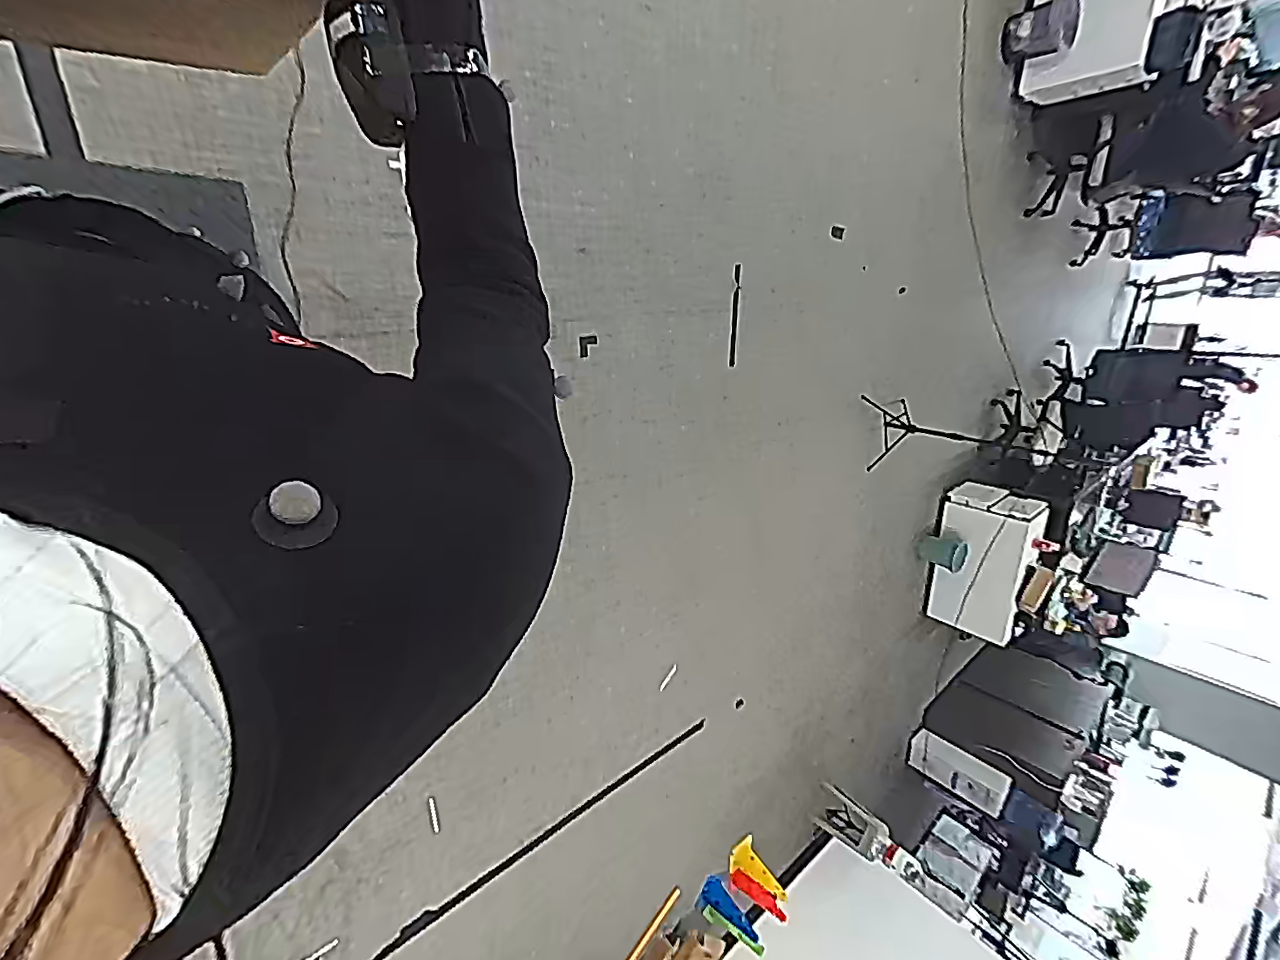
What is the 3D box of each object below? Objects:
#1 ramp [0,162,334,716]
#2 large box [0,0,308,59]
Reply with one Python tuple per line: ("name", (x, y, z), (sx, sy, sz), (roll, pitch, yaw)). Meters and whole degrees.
("ramp", (-0.982, -0.085, 1.082), (0.509, 0.206, 0.991), (-14, 112, -36))
("large box", (-0.416, -0.423, 0.231), (0.408, 0.320, 0.320), (-20, 125, -35))
